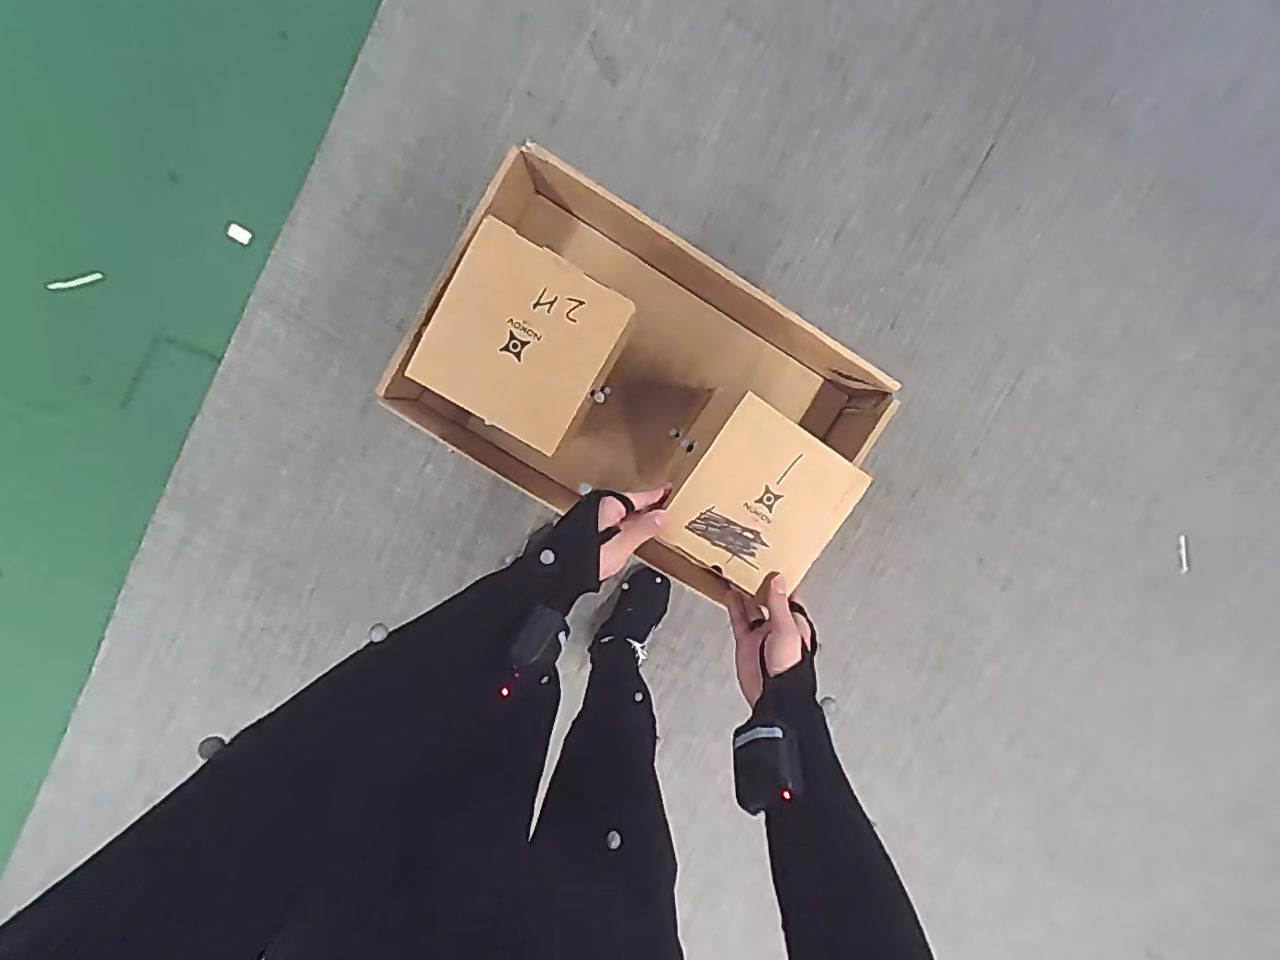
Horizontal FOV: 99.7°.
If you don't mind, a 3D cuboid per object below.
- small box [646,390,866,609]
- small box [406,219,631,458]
[{"bbox_3d":[0.119,0.013,0.636,0.168,0.176,0.179,34,95,-7],"label":"small box"},{"bbox_3d":[-0.120,-0.146,0.606,0.168,0.176,0.179,30,96,-6],"label":"small box"}]
